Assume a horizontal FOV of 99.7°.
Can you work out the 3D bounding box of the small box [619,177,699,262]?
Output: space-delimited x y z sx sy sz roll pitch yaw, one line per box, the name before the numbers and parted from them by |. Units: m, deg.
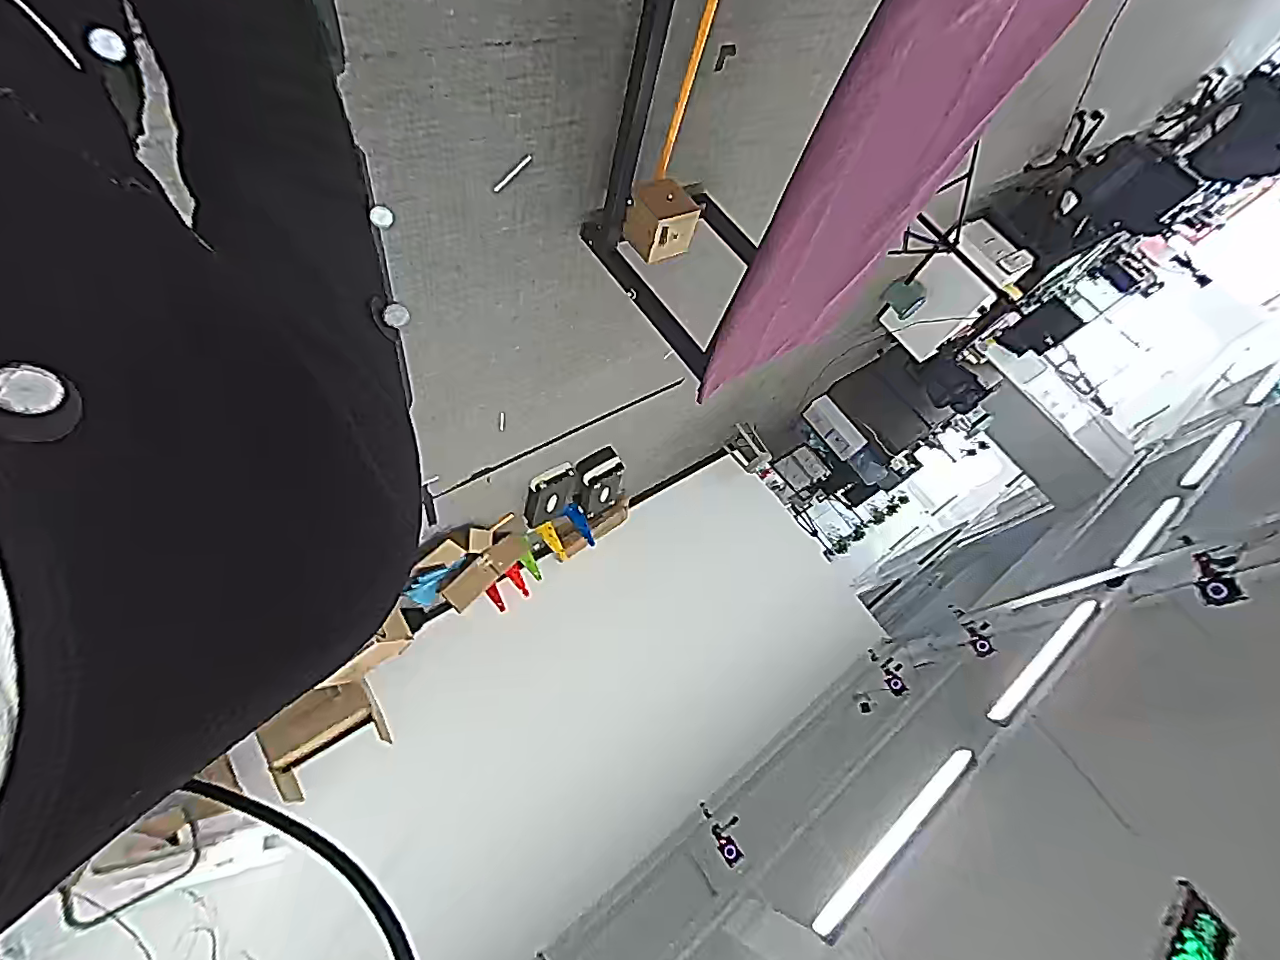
small box | 0.054 -0.845 1.751 0.179 0.176 0.168 -29 163 -27
